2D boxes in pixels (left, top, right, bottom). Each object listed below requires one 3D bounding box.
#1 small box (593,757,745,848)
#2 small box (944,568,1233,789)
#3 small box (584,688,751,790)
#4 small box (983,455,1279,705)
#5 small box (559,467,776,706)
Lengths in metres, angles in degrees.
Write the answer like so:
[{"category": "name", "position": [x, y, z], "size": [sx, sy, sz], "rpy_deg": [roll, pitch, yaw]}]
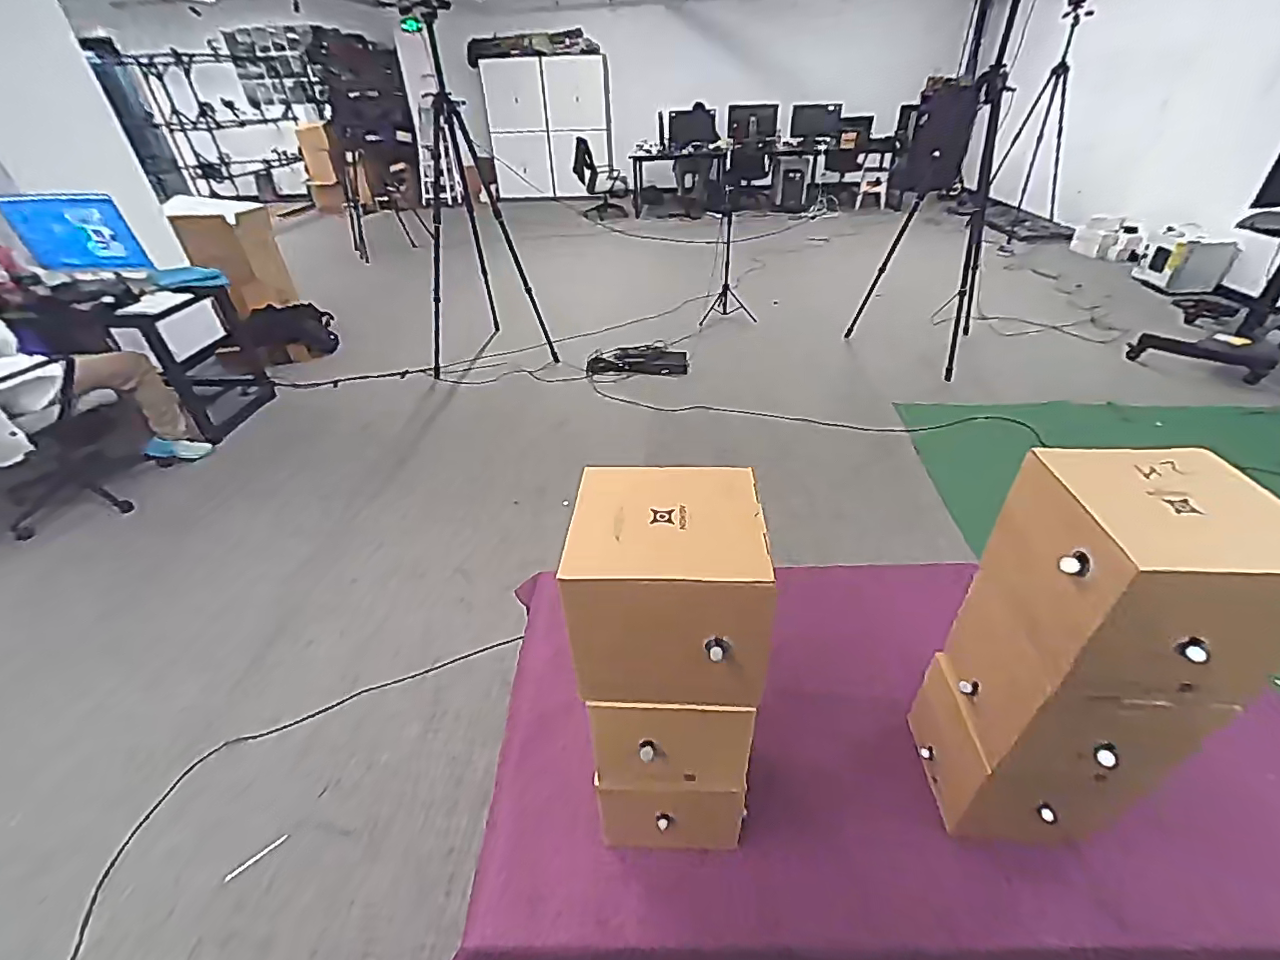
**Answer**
[{"category": "small box", "position": [0.039, 0.368, 0.726], "size": [0.179, 0.176, 0.168], "rpy_deg": [-1, 36, 4]}, {"category": "small box", "position": [0.480, 0.225, 0.619], "size": [0.168, 0.176, 0.179], "rpy_deg": [3, 37, 7]}, {"category": "small box", "position": [0.036, 0.236, 0.632], "size": [0.168, 0.176, 0.179], "rpy_deg": [1, 35, 4]}, {"category": "small box", "position": [0.471, 0.092, 0.520], "size": [0.168, 0.176, 0.179], "rpy_deg": [2, 36, 6]}, {"category": "small box", "position": [0.029, 0.103, 0.538], "size": [0.179, 0.176, 0.168], "rpy_deg": [1, 34, 5]}]
